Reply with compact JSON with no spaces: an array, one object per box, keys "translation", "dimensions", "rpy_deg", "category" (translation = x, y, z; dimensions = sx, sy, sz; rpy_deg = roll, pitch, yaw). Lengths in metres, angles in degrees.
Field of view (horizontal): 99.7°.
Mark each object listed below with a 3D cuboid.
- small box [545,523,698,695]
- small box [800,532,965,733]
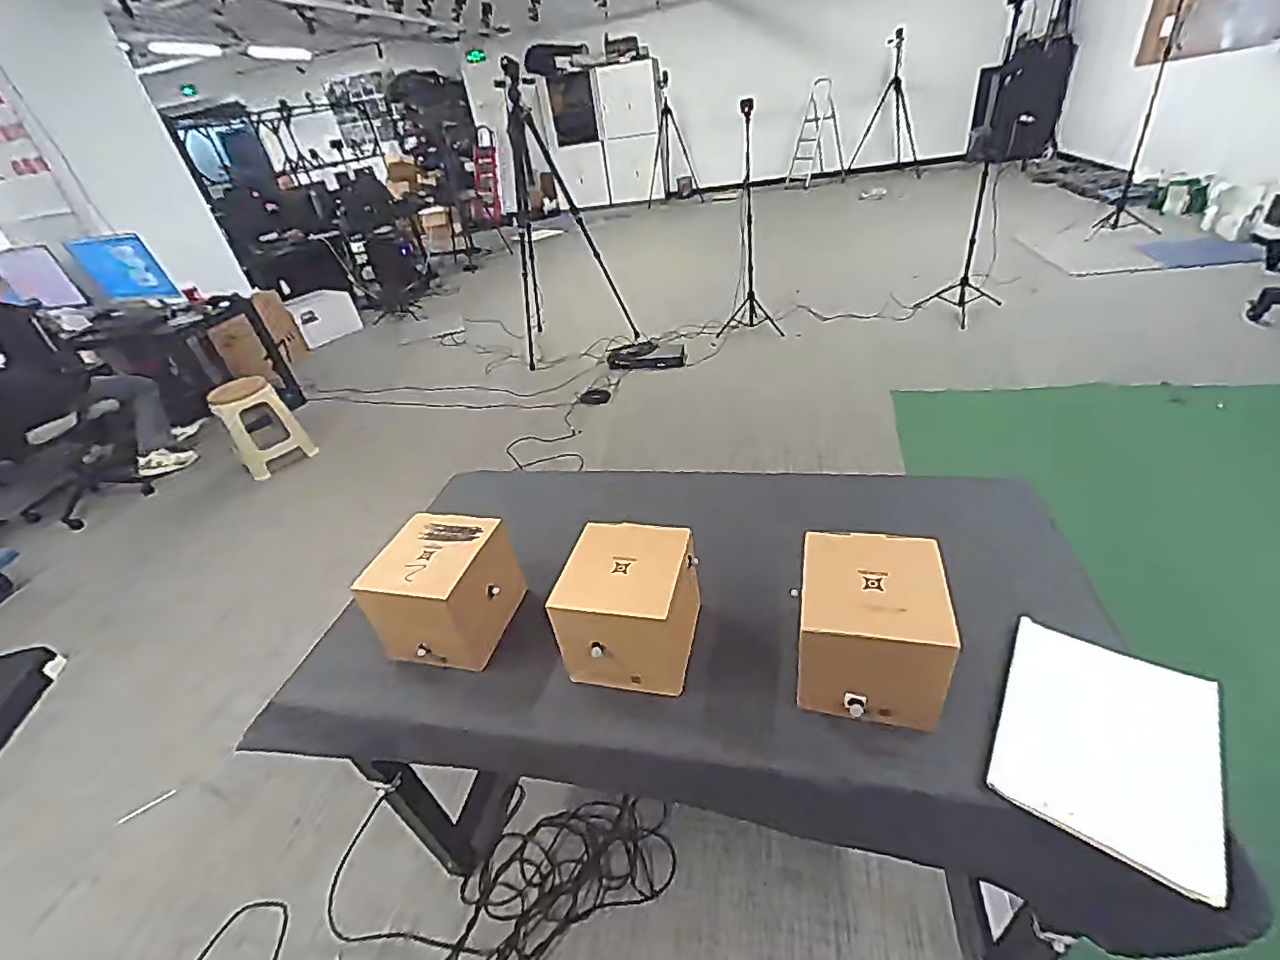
[{"translation":[-0.013,0.184,0.783],"dimensions":[0.168,0.176,0.179],"rpy_deg":[2,35,16],"category":"small box"},{"translation":[0.297,0.190,0.698],"dimensions":[0.168,0.176,0.179],"rpy_deg":[1,37,18],"category":"small box"}]
